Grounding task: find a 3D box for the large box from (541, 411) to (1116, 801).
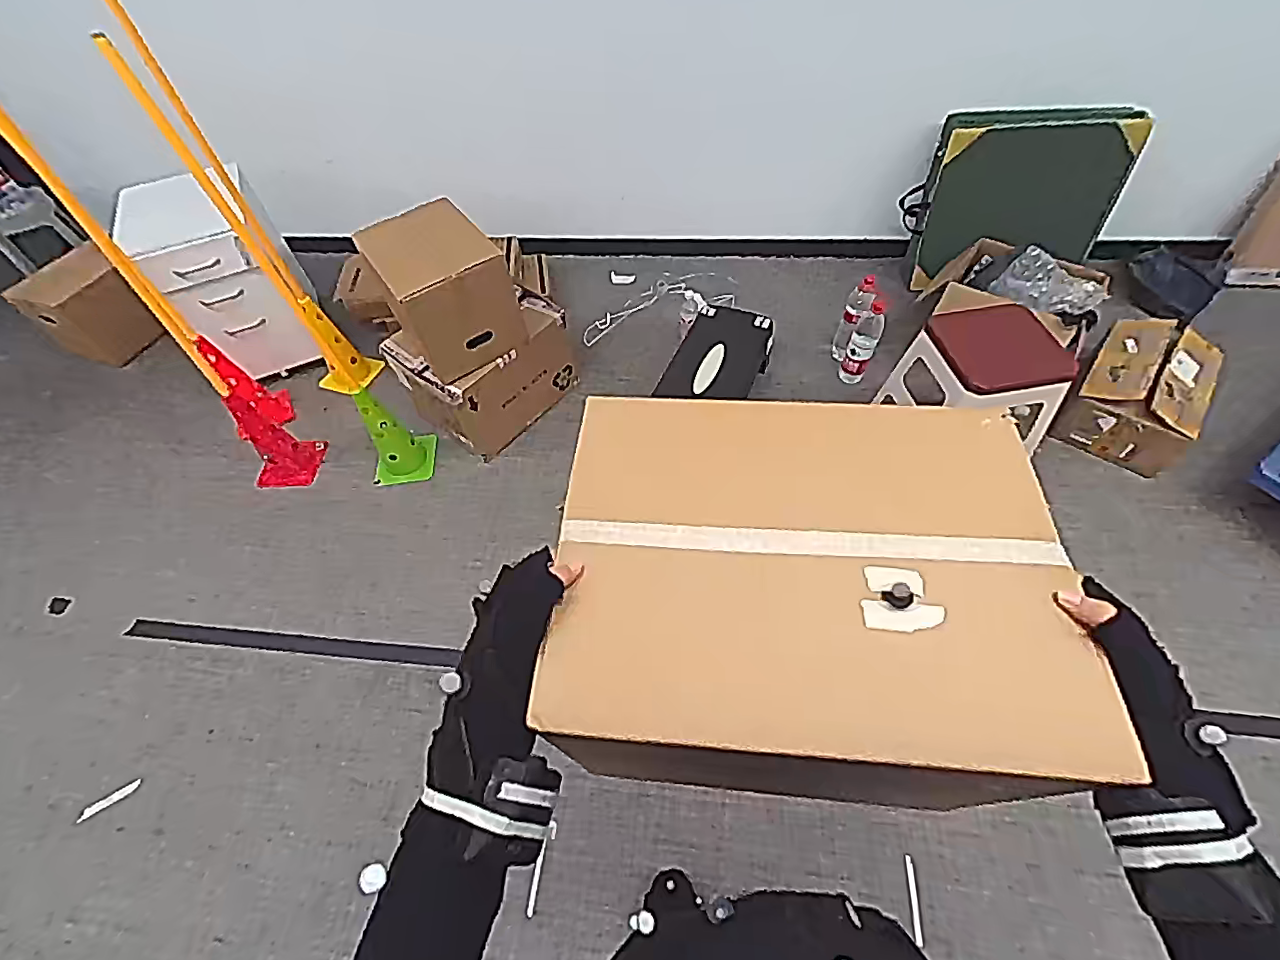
[{"bbox_3d":[0.140,0.143,0.582,0.408,0.320,0.320,2,56,6],"label":"large box"}]
